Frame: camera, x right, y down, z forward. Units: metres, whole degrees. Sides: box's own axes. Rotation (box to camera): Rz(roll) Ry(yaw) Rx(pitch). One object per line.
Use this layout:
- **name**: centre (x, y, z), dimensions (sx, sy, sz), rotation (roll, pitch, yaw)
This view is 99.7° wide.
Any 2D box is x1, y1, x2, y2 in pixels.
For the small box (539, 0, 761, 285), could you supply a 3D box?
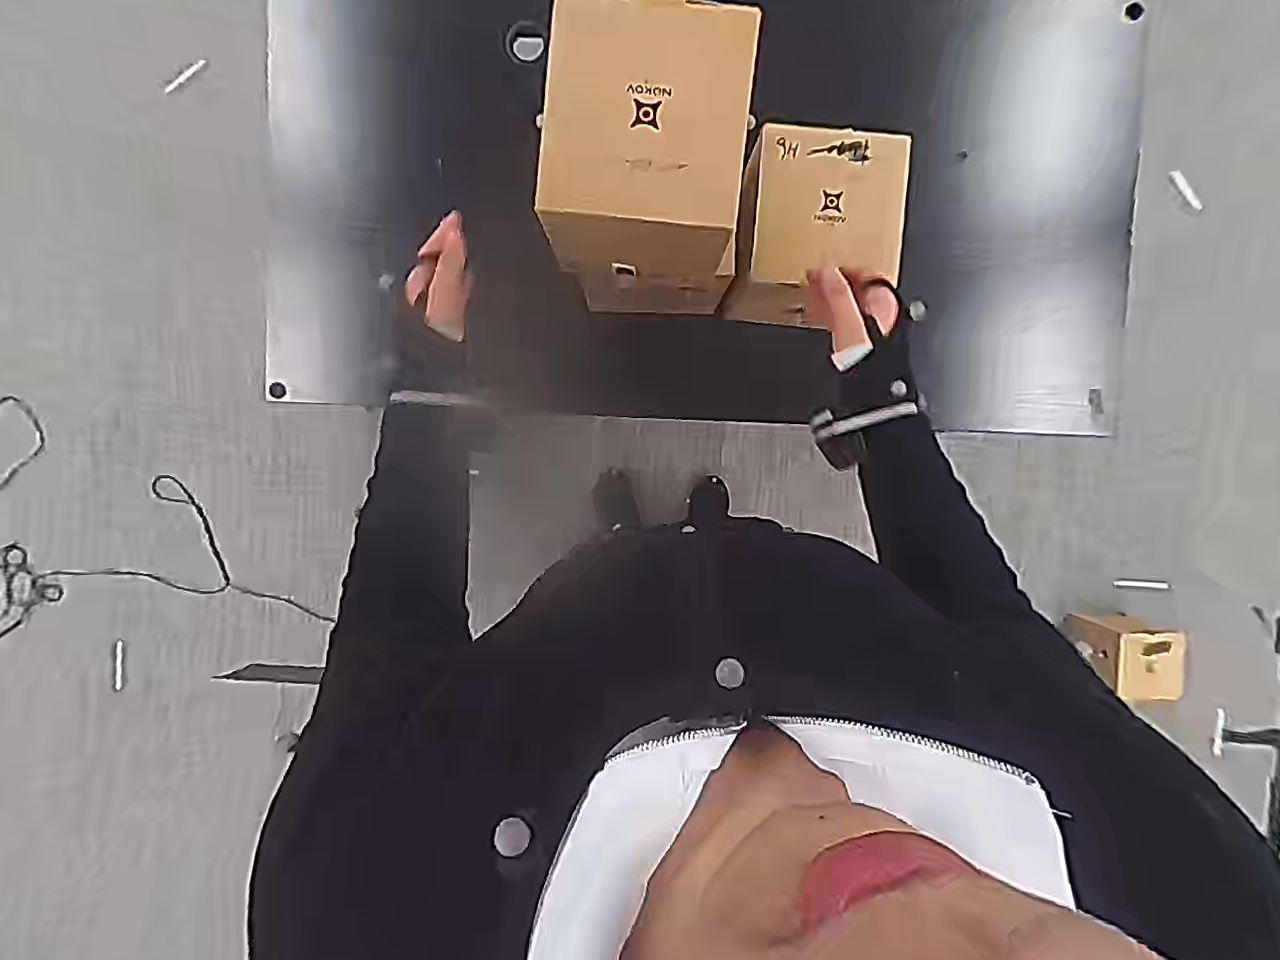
- **small box**: centre (0.007, -0.304, 0.510), dimensions (0.168, 0.176, 0.179), rotation (5, 94, 1)

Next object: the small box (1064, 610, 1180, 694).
- **small box**: centre (1.287, 0.455, 1.455), dimensions (0.168, 0.176, 0.179), rotation (0, 94, 0)
